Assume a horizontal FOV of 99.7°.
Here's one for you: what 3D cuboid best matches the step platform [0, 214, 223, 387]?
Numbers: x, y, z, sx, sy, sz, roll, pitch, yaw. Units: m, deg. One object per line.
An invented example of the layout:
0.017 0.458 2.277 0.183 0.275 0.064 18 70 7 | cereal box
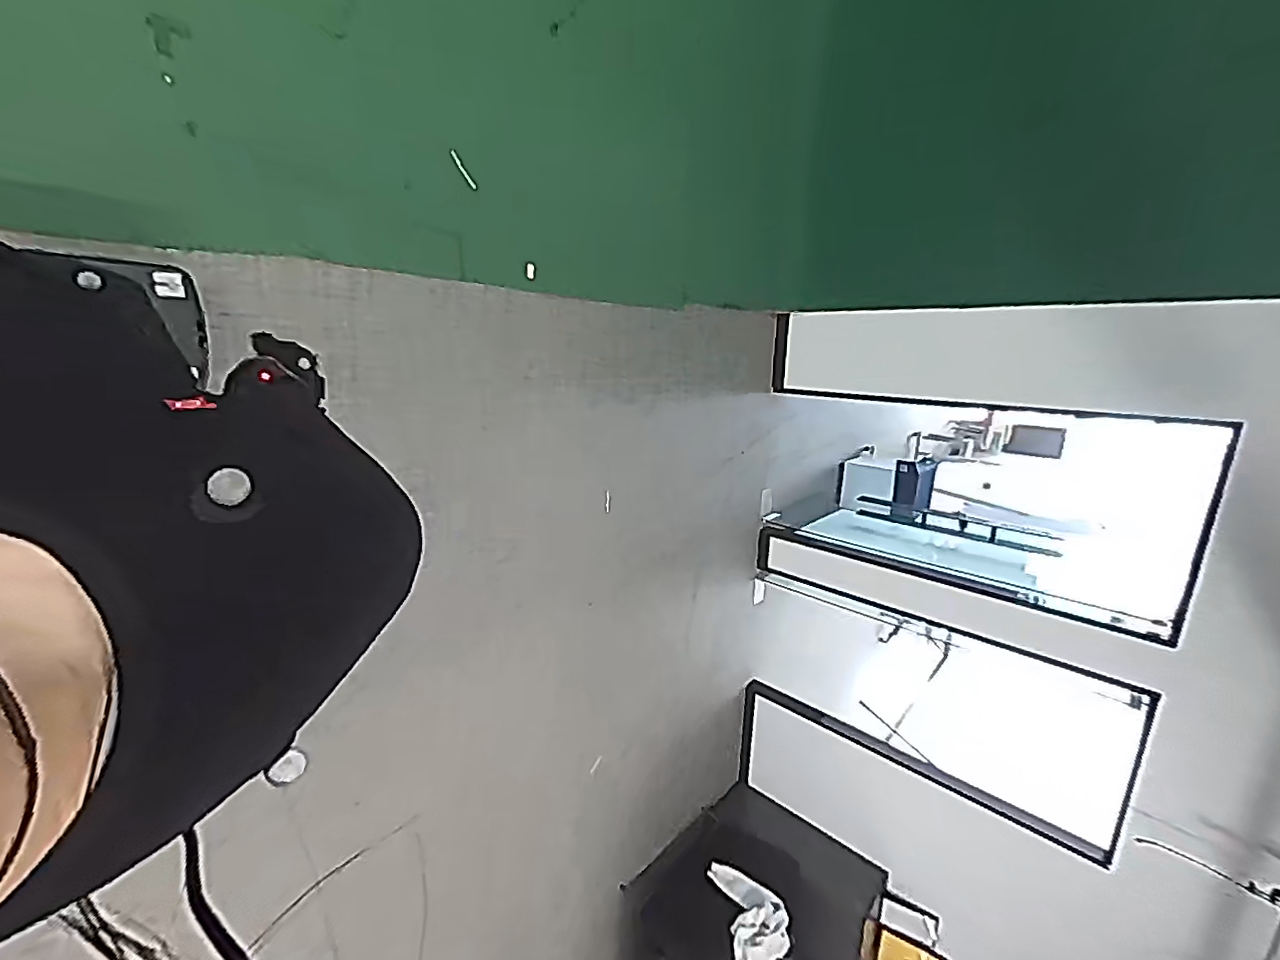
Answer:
-1.102 -0.290 0.851 0.684 0.204 0.286 -12 111 -46 | step platform
